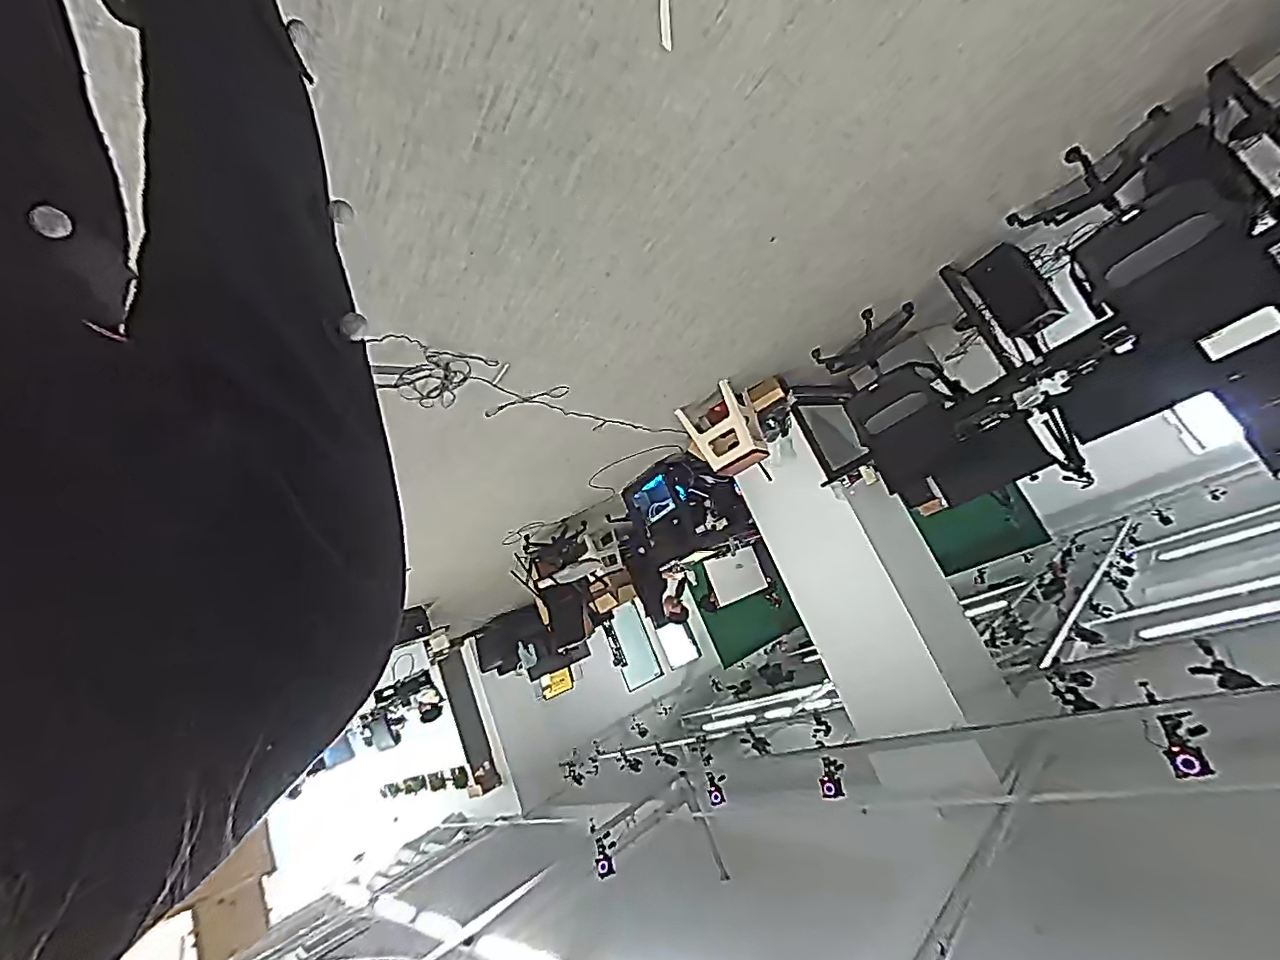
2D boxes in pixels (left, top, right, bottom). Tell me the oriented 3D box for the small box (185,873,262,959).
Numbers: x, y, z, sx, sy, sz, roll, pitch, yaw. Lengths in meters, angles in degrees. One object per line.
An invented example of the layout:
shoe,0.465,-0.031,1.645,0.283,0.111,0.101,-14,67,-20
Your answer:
small box,-1.323,1.385,1.714,0.179,0.176,0.168,-9,159,-42
